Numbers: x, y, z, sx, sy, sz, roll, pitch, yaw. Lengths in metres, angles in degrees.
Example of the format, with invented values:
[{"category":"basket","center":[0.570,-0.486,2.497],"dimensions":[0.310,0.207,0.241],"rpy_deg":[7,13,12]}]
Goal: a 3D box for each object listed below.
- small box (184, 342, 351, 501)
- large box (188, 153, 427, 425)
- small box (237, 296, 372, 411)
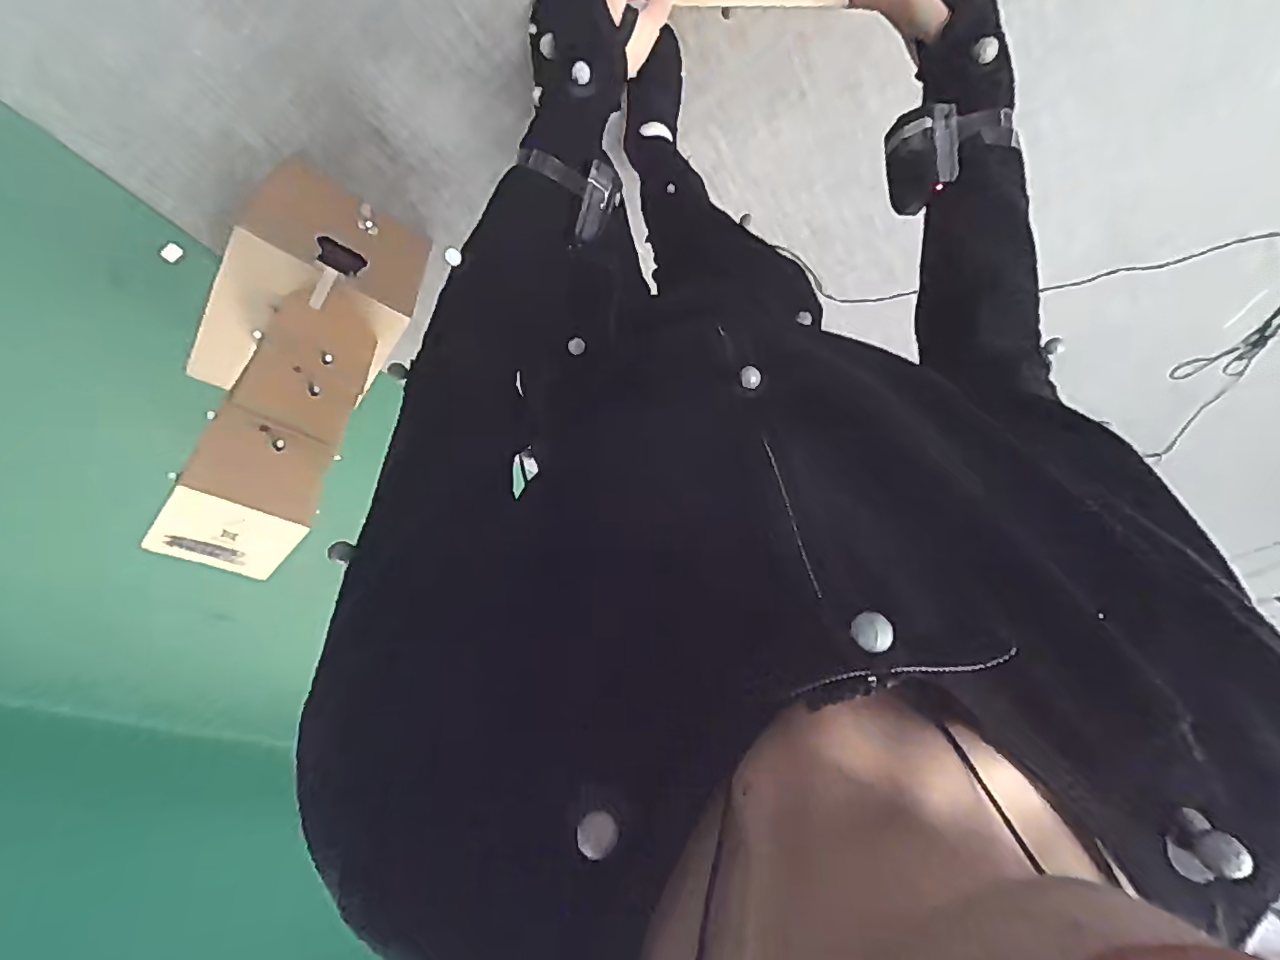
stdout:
[{"category":"small box","center":[-0.630,-0.098,0.934],"dimensions":[0.179,0.176,0.168],"rpy_deg":[-35,134,26]},{"category":"large box","center":[-0.718,-0.401,1.196],"dimensions":[0.320,0.320,0.408],"rpy_deg":[26,130,-34]},{"category":"small box","center":[-0.648,-0.217,1.043],"dimensions":[0.168,0.176,0.179],"rpy_deg":[-35,134,27]}]
